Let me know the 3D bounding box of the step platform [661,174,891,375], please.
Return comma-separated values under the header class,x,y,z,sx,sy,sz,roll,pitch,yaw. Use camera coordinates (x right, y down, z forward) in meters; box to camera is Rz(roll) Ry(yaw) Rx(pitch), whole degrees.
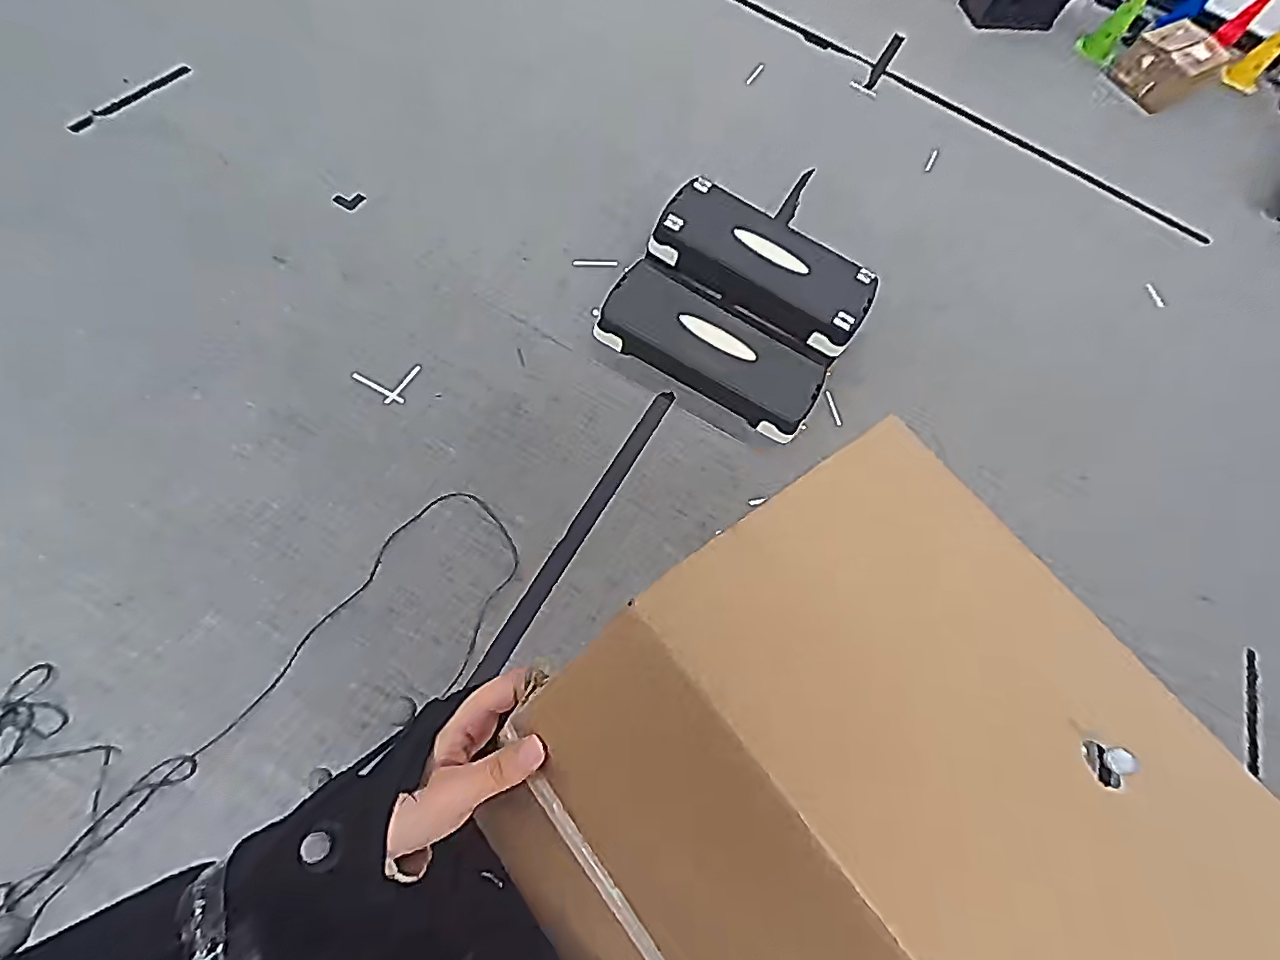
class,x,y,z,sx,sy,sz,roll,pitch,yaw
step platform,0.407,-0.633,1.652,0.684,0.204,0.286,36,66,4
